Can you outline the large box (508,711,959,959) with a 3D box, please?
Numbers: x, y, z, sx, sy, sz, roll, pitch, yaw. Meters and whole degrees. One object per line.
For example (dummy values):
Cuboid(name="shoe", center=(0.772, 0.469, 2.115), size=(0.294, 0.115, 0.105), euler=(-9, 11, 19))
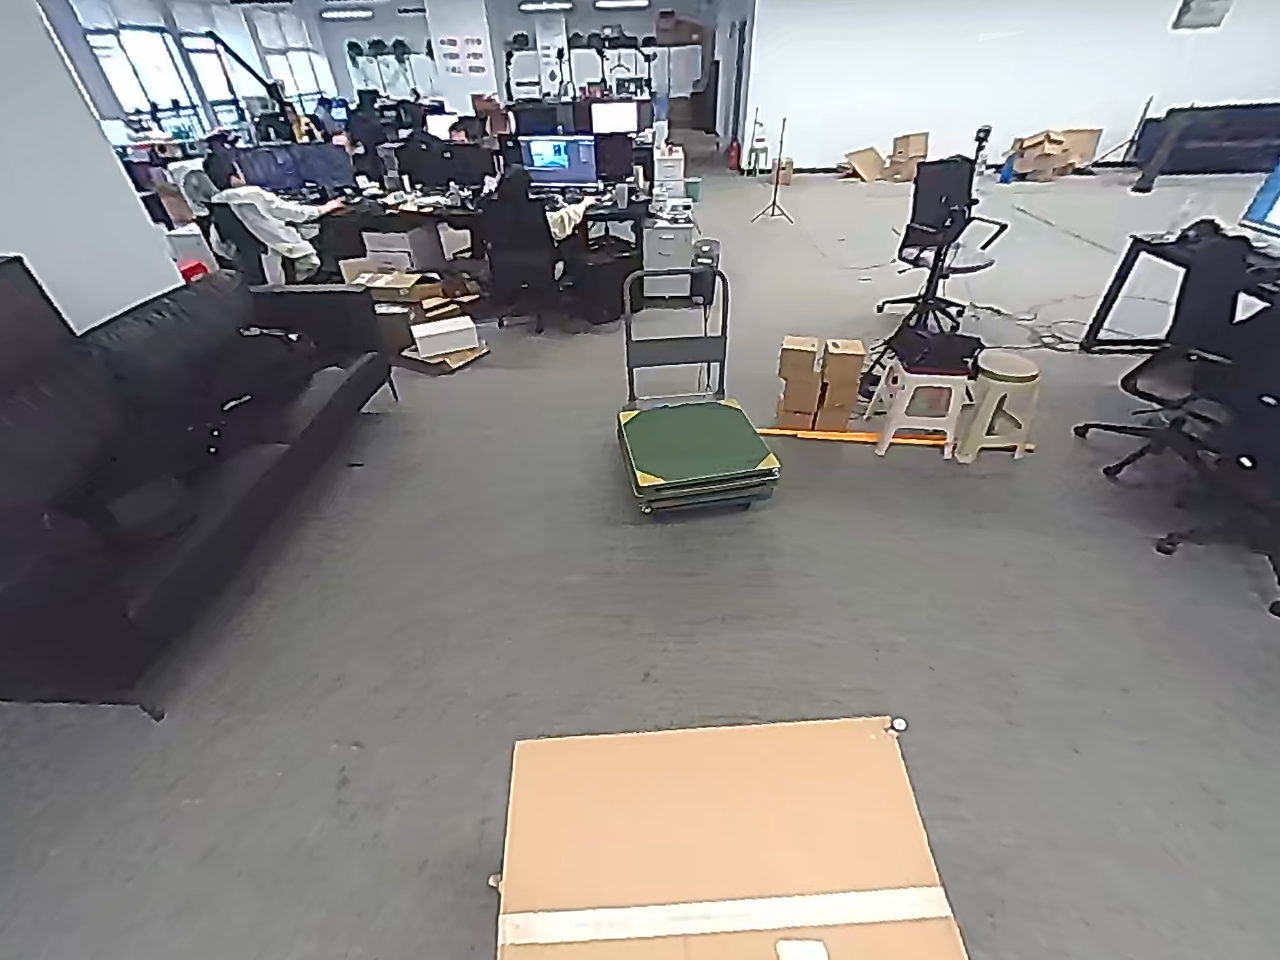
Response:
Cuboid(name="large box", center=(0.083, 0.480, 0.618), size=(0.408, 0.320, 0.320), euler=(-5, 54, 0))
